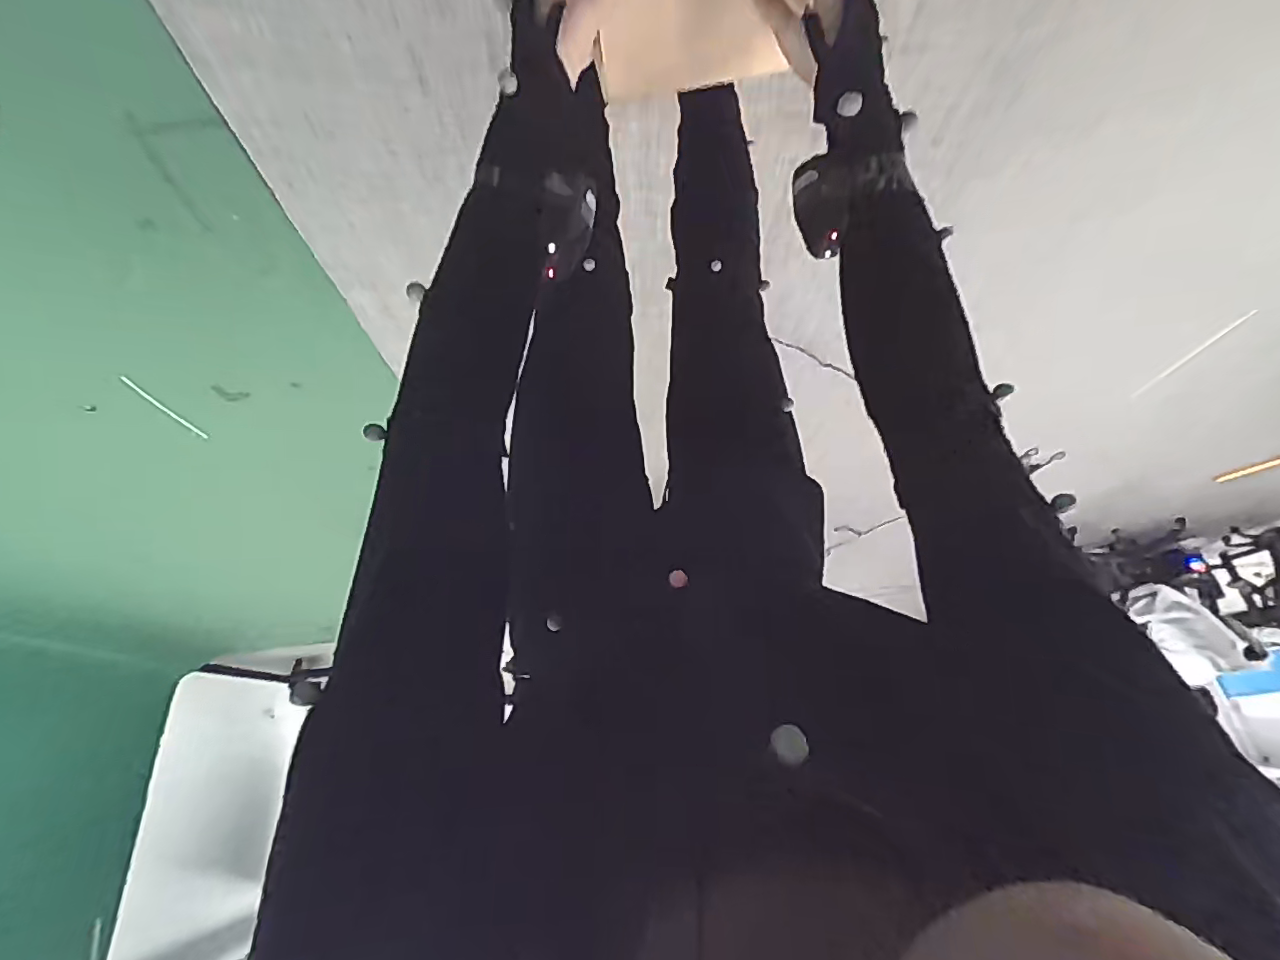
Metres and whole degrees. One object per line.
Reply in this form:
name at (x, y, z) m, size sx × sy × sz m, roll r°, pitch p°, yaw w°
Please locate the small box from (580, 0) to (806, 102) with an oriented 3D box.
small box at (0.033, -0.452, 0.444) m, size 0.179 × 0.176 × 0.168 m, roll -10°, pitch 151°, yaw -1°
